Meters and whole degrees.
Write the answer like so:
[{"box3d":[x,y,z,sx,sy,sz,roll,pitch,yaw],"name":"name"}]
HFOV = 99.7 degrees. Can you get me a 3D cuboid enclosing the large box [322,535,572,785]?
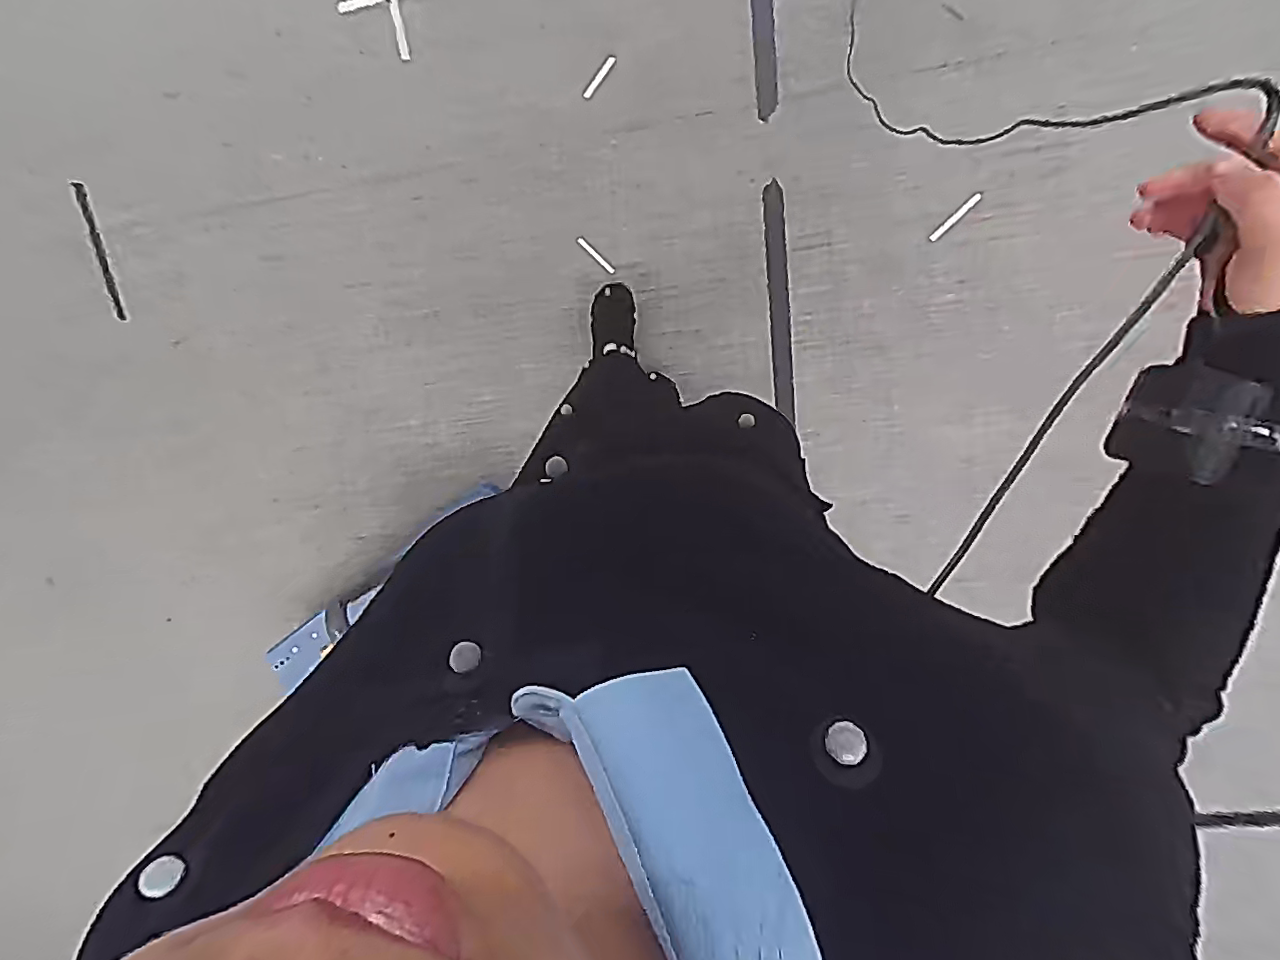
[{"box3d":[-0.426,0.406,1.287,0.320,0.320,0.408,-36,96,11],"name":"large box"}]
